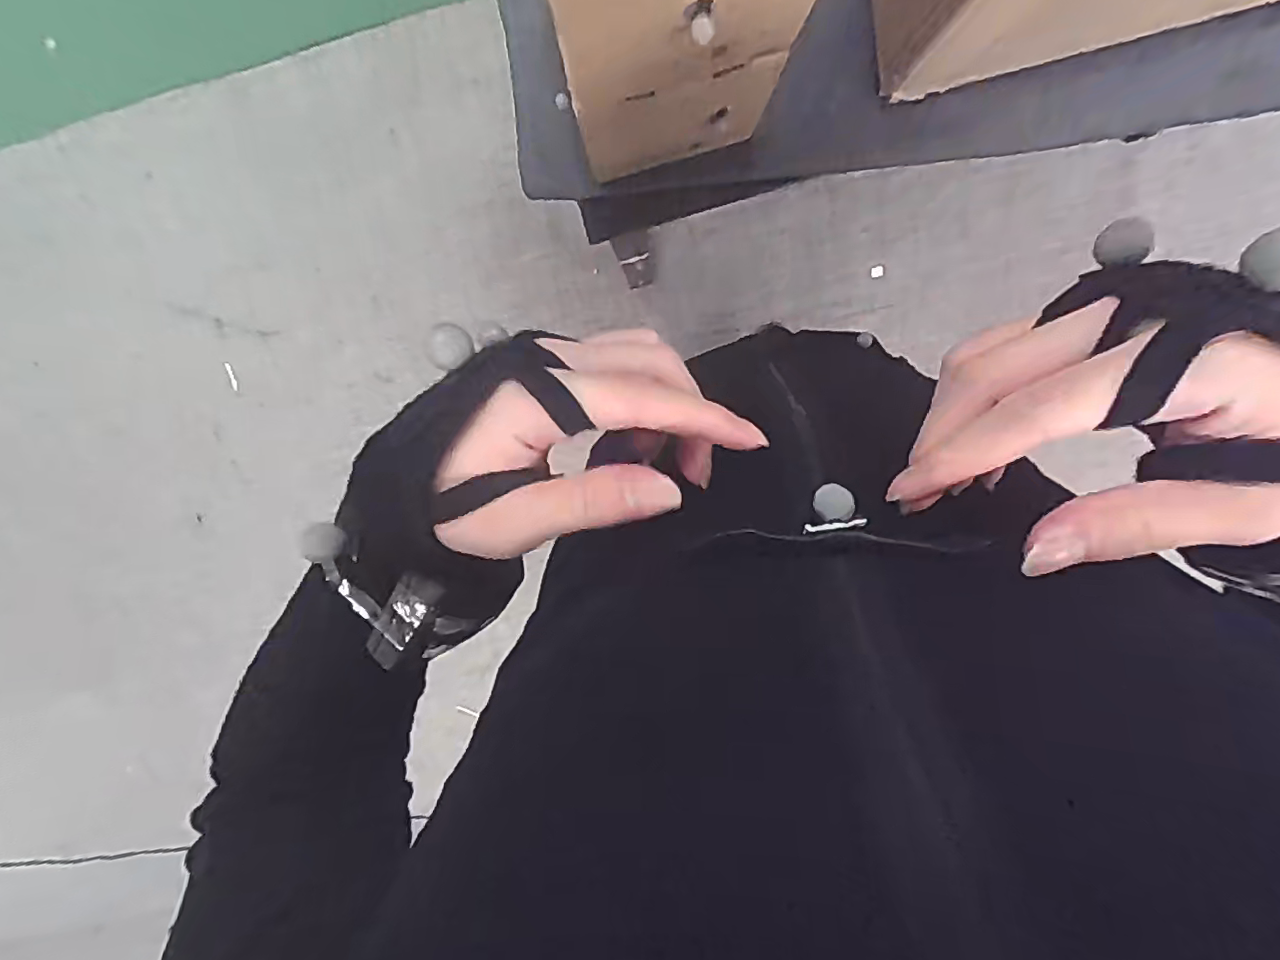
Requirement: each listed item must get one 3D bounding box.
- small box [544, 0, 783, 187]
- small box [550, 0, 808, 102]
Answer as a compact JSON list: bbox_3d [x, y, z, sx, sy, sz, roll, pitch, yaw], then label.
[{"bbox_3d":[0.011,-0.387,0.480,0.168,0.176,0.179,-16,99,3],"label":"small box"},{"bbox_3d":[0.014,-0.360,0.318,0.168,0.176,0.179,-14,102,3],"label":"small box"}]
